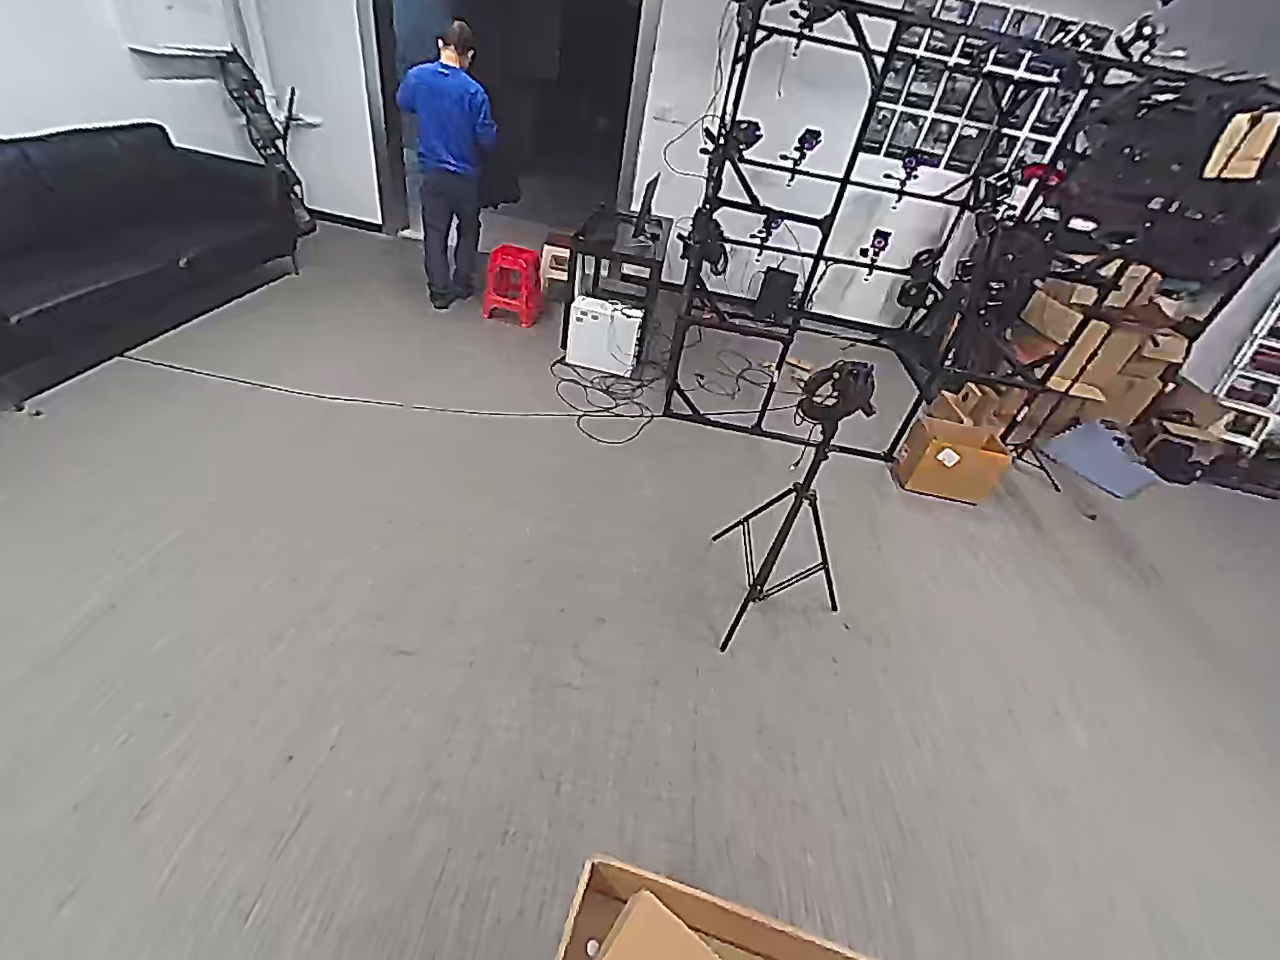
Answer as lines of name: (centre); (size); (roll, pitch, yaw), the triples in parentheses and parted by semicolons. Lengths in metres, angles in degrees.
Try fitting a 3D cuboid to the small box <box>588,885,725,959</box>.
small box: (0.016, 0.611, 0.620); (0.179, 0.176, 0.168); (32, 52, 20)
